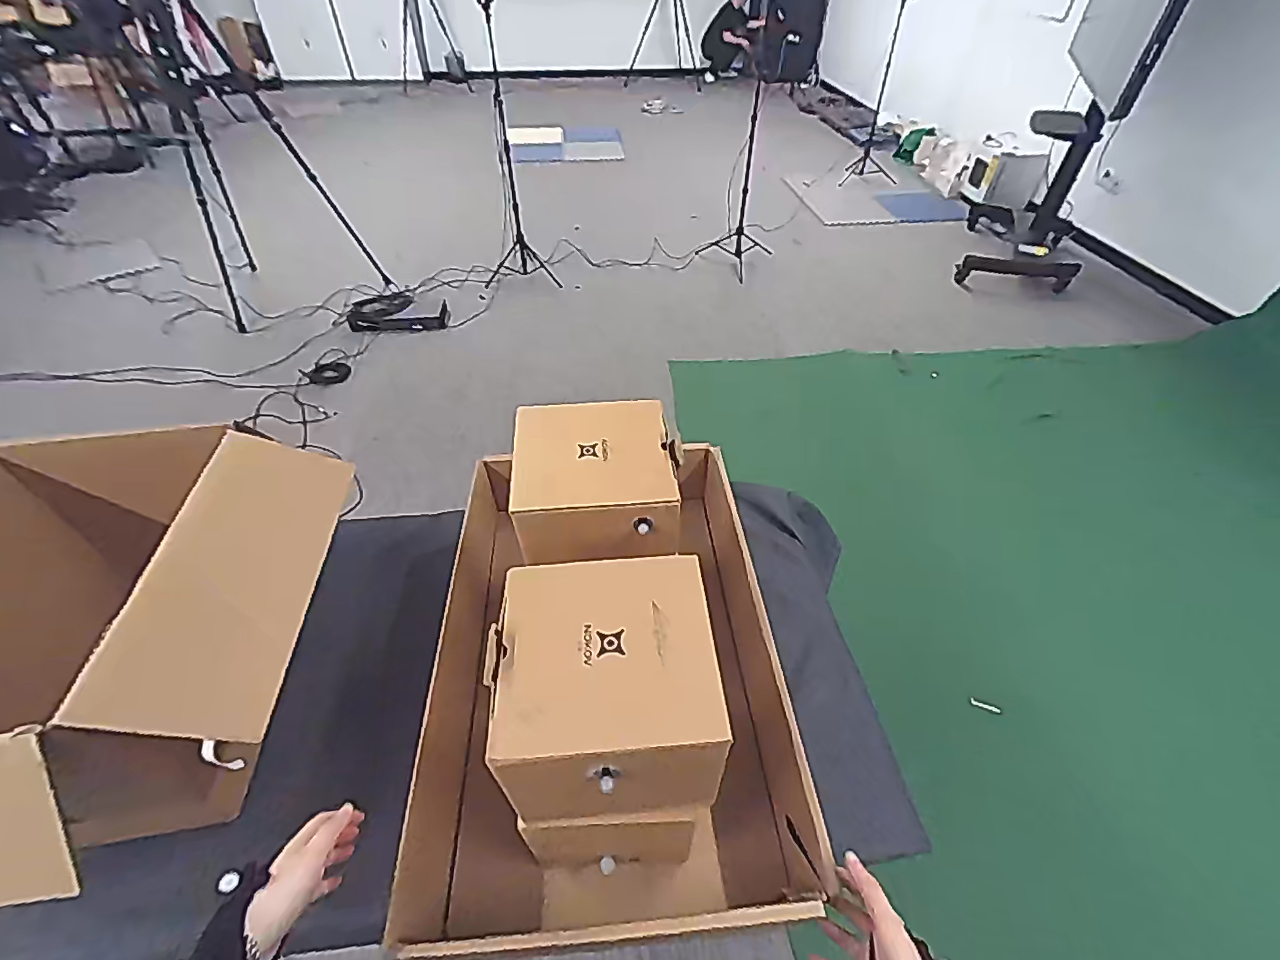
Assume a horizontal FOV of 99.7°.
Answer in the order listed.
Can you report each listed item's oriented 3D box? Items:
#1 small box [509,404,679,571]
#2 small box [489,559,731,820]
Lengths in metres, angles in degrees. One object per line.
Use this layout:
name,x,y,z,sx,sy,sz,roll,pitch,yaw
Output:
small box,-0.052,0.028,0.657,0.179,0.176,0.168,-4,48,-4
small box,-0.025,0.192,0.493,0.179,0.176,0.168,-4,46,-3
